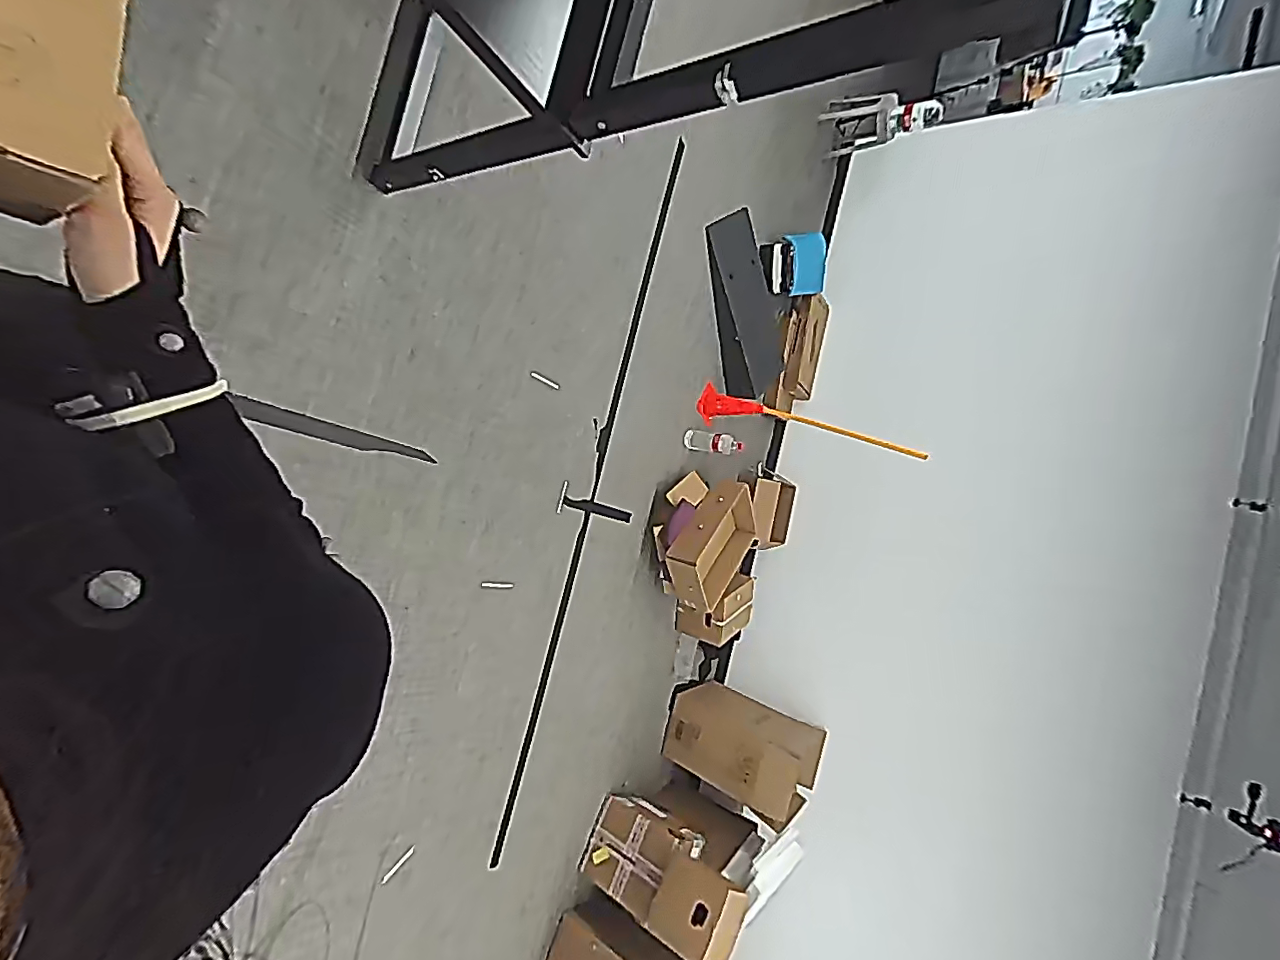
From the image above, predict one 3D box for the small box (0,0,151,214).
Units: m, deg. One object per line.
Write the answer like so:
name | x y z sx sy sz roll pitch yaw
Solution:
small box | -0.334 -0.234 0.227 0.168 0.176 0.179 5 97 -56
